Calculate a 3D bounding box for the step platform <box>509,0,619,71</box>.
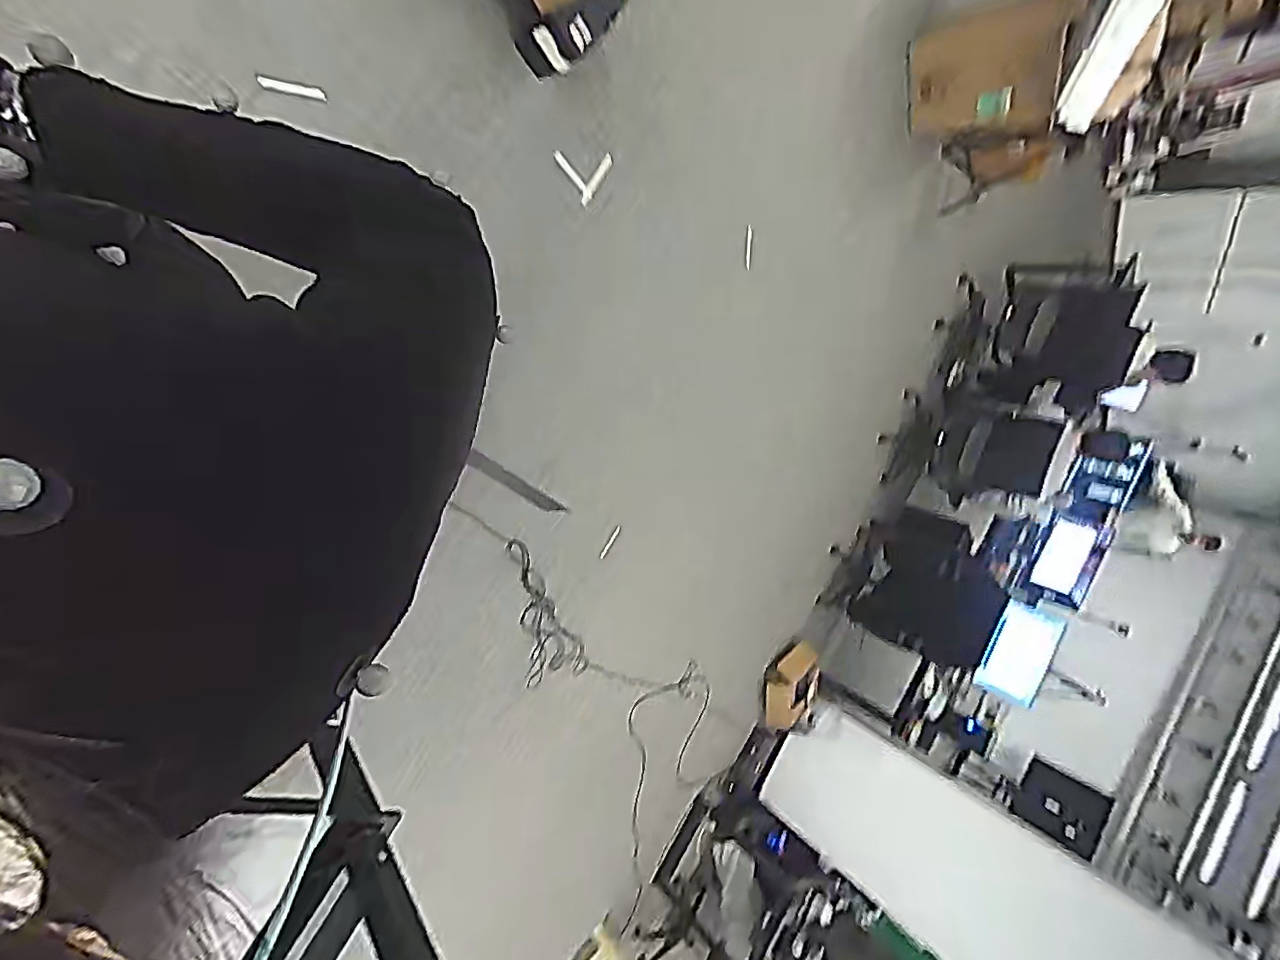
[{"bbox_3d":[-0.314,-1.315,1.157,0.286,0.204,0.684,-55,134,-11],"label":"step platform"}]
